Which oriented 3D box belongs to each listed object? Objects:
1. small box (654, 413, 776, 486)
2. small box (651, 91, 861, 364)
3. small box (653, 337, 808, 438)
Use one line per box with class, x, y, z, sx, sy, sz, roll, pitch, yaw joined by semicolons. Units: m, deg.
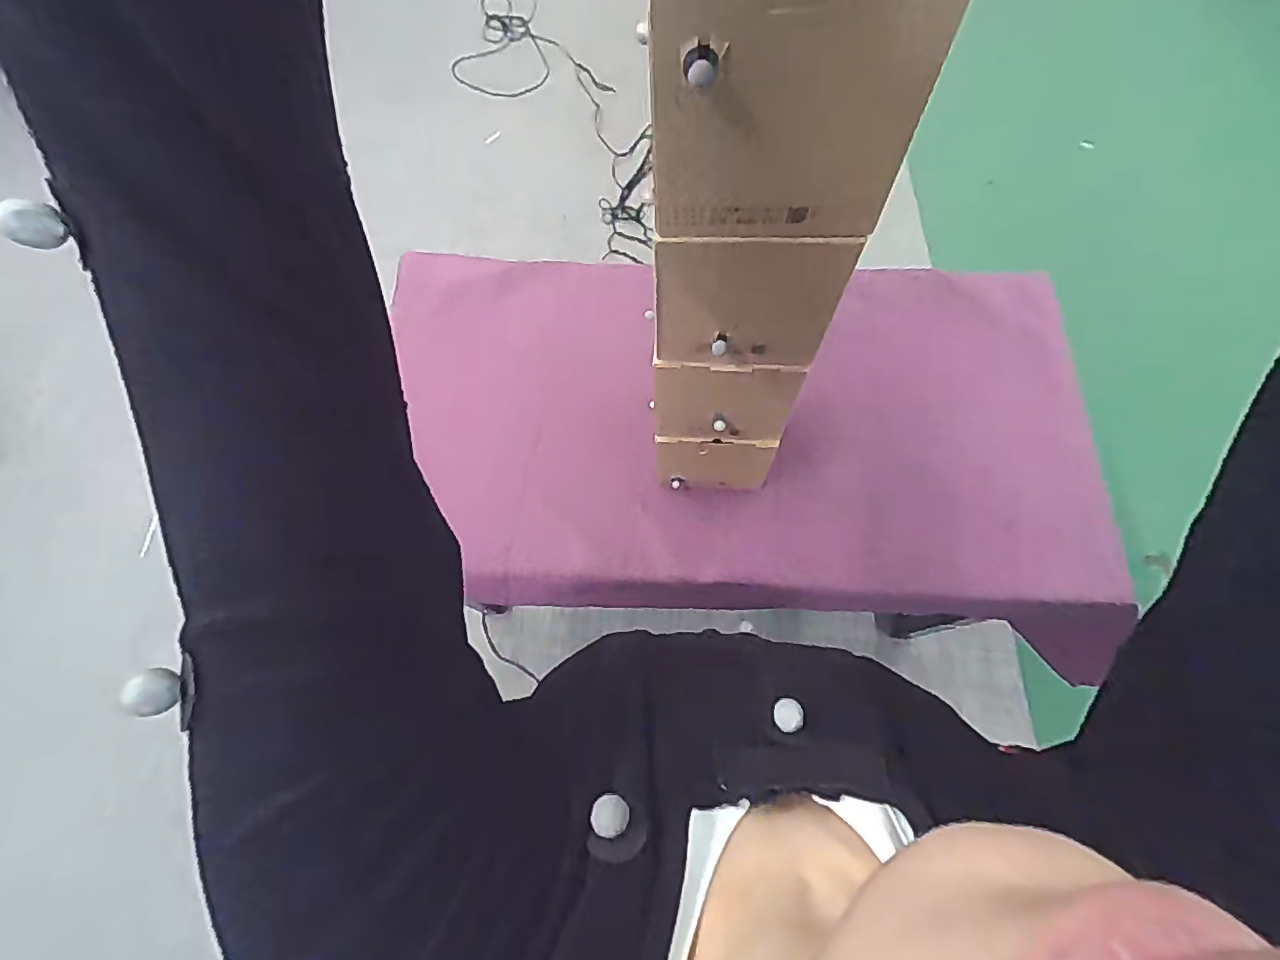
small box;0.111;-0.101;0.823;0.168;0.176;0.179;3;67;4
small box;0.098;-0.236;0.525;0.168;0.176;0.179;3;68;4
small box;0.104;-0.171;0.674;0.168;0.176;0.179;3;68;4
